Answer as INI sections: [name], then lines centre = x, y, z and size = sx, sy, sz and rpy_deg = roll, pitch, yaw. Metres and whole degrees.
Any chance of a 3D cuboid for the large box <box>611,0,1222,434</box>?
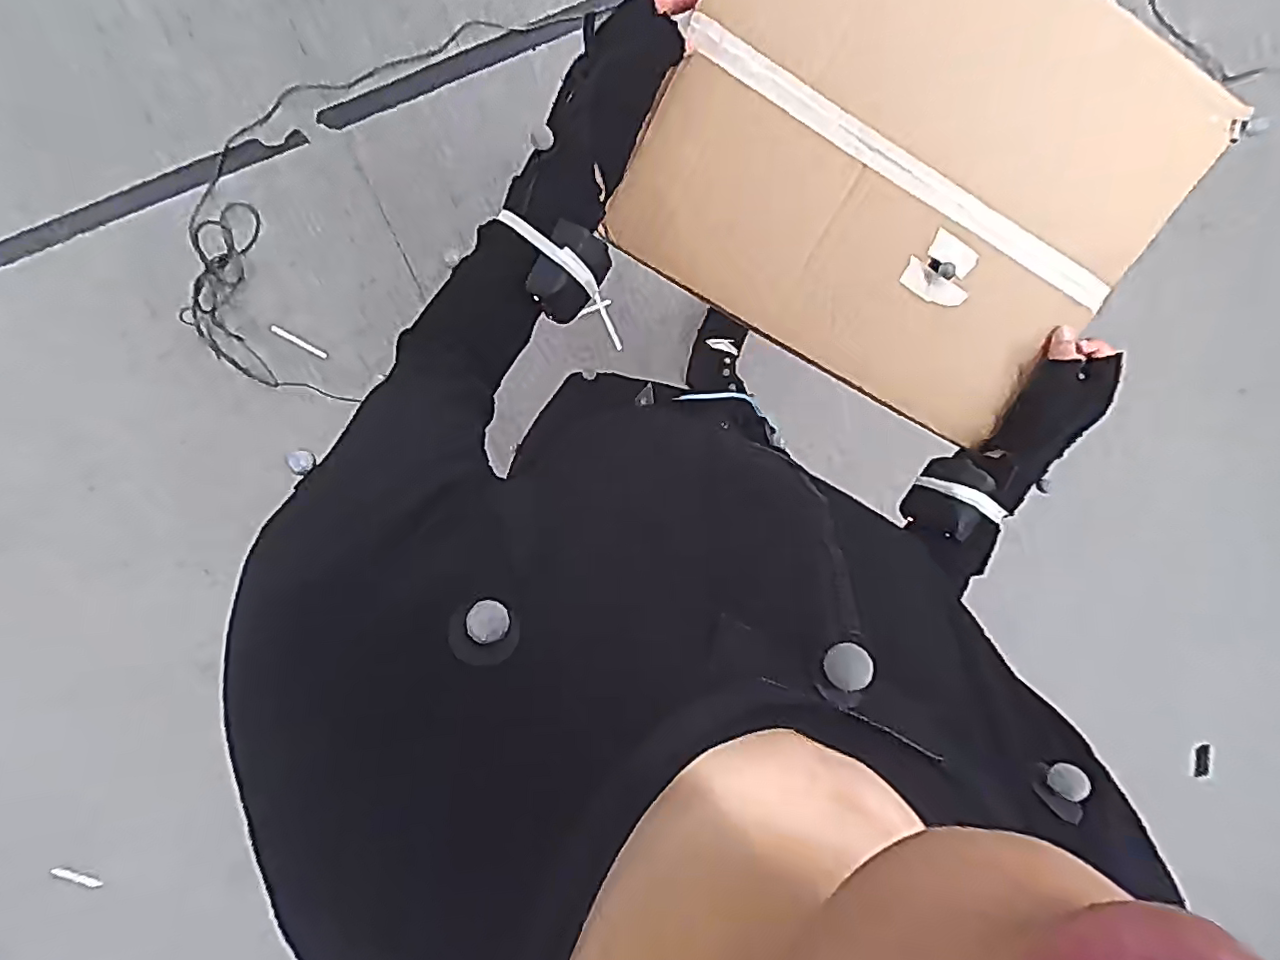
[large box]
centre = 0.216, -0.306, 0.580
size = 0.408, 0.320, 0.320
rpy_deg = 27, 110, -10
